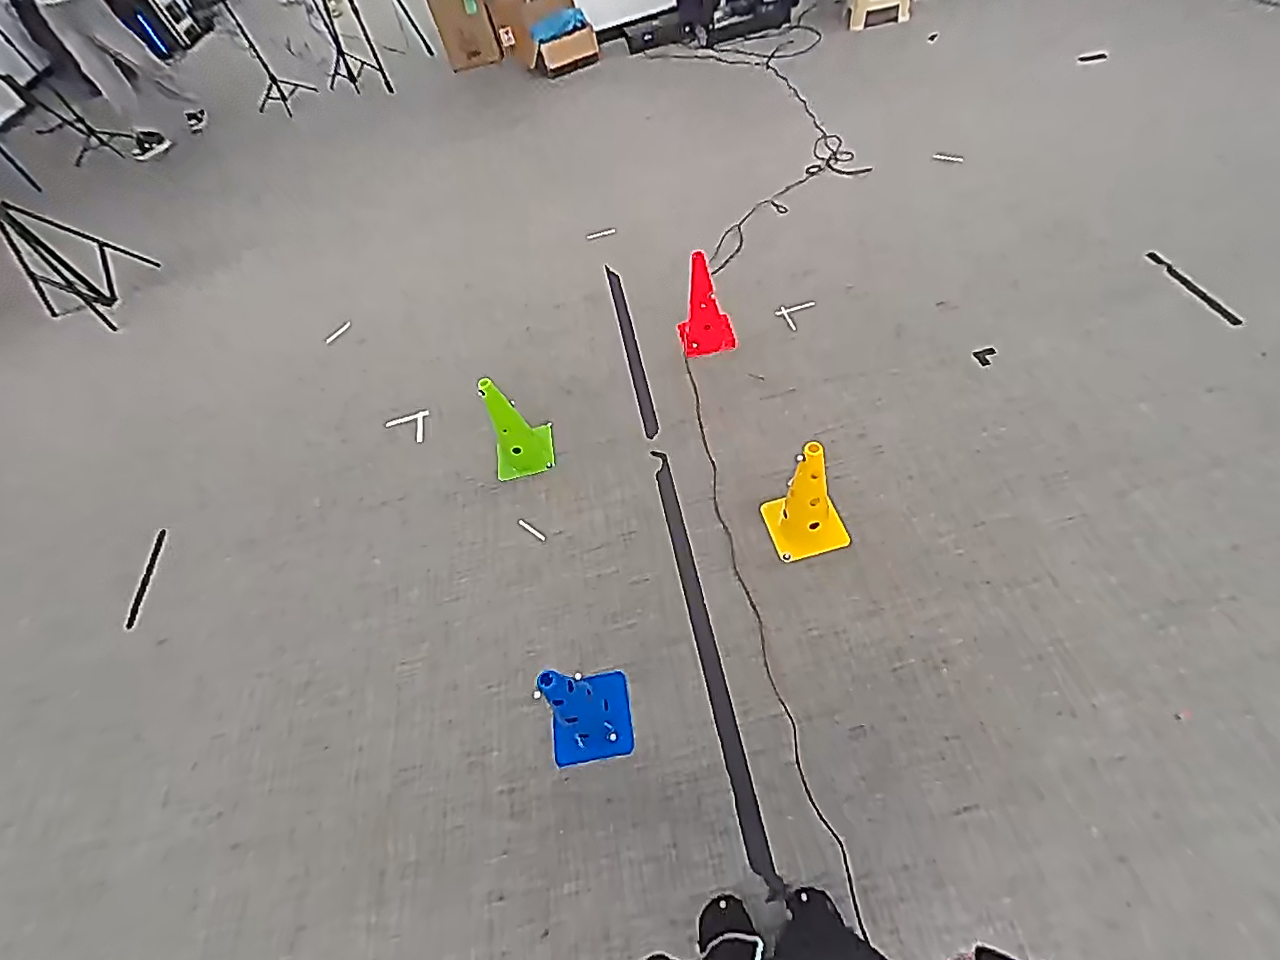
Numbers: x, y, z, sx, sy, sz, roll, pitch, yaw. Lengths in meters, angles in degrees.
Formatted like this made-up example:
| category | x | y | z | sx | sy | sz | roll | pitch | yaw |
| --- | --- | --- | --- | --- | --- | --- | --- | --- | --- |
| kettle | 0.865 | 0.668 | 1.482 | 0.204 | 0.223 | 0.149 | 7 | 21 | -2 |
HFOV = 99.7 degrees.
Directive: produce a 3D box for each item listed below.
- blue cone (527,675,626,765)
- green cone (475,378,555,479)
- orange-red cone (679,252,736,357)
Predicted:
| category | x | y | z | sx | sy | sz | roll | pitch | yaw |
| --- | --- | --- | --- | --- | --- | --- | --- | --- | --- |
| blue cone | -0.163 | 0.506 | 1.224 | 0.192 | 0.380 | 0.193 | -12 | 54 | 6 |
| green cone | -0.432 | -0.196 | 1.753 | 0.202 | 0.368 | 0.200 | -15 | 54 | 3 |
| orange-red cone | 0.228 | -0.642 | 1.922 | 0.199 | 0.360 | 0.198 | -10 | 56 | 4 |
